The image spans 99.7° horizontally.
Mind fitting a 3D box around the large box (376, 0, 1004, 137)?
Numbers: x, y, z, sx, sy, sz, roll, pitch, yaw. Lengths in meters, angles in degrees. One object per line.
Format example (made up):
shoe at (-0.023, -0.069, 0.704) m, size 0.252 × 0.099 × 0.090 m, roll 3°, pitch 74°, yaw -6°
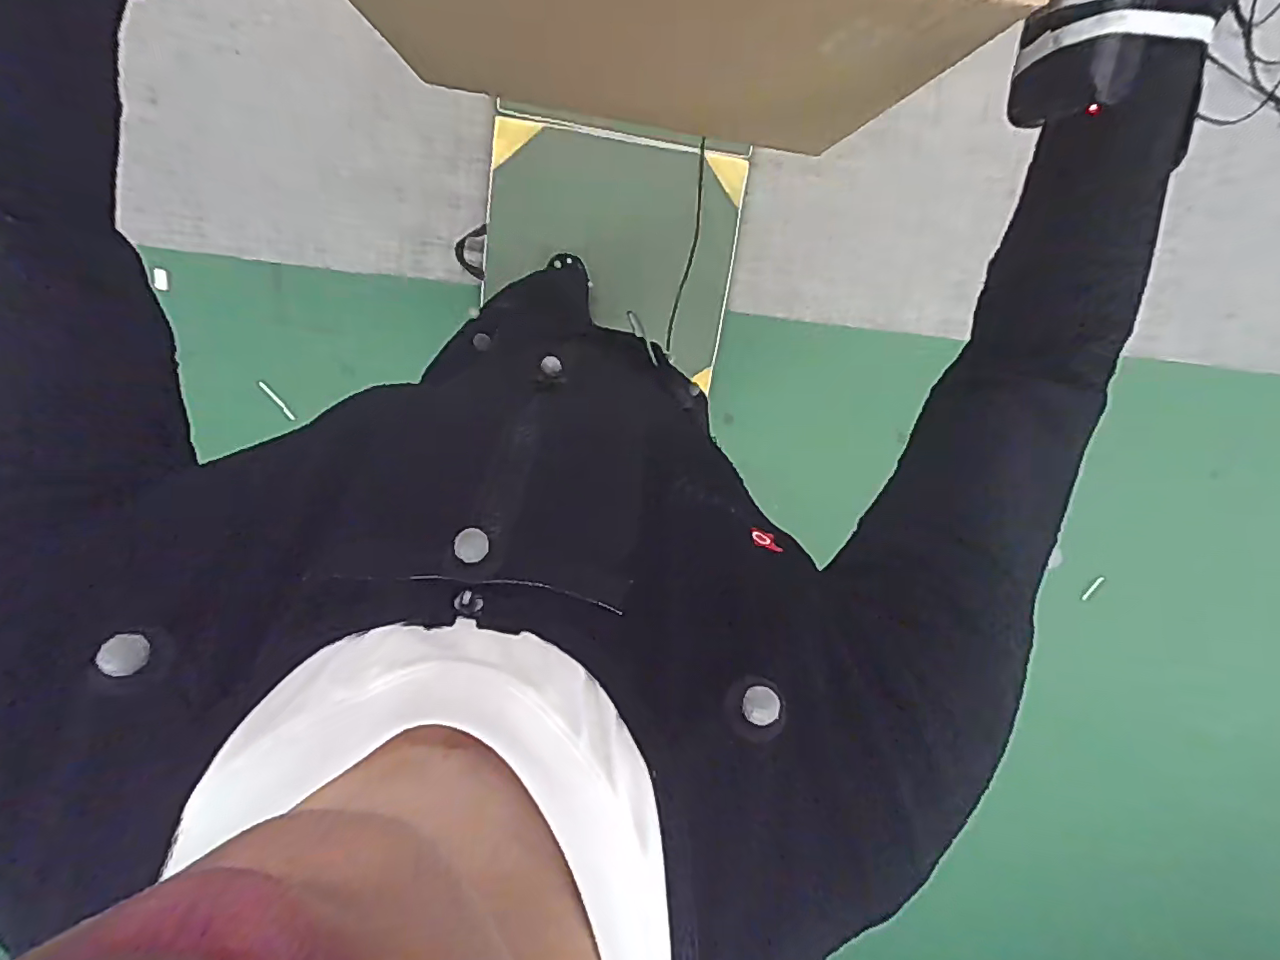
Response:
large box at (0.020, -0.463, 0.349) m, size 0.408 × 0.320 × 0.320 m, roll 6°, pitch 109°, yaw -6°
